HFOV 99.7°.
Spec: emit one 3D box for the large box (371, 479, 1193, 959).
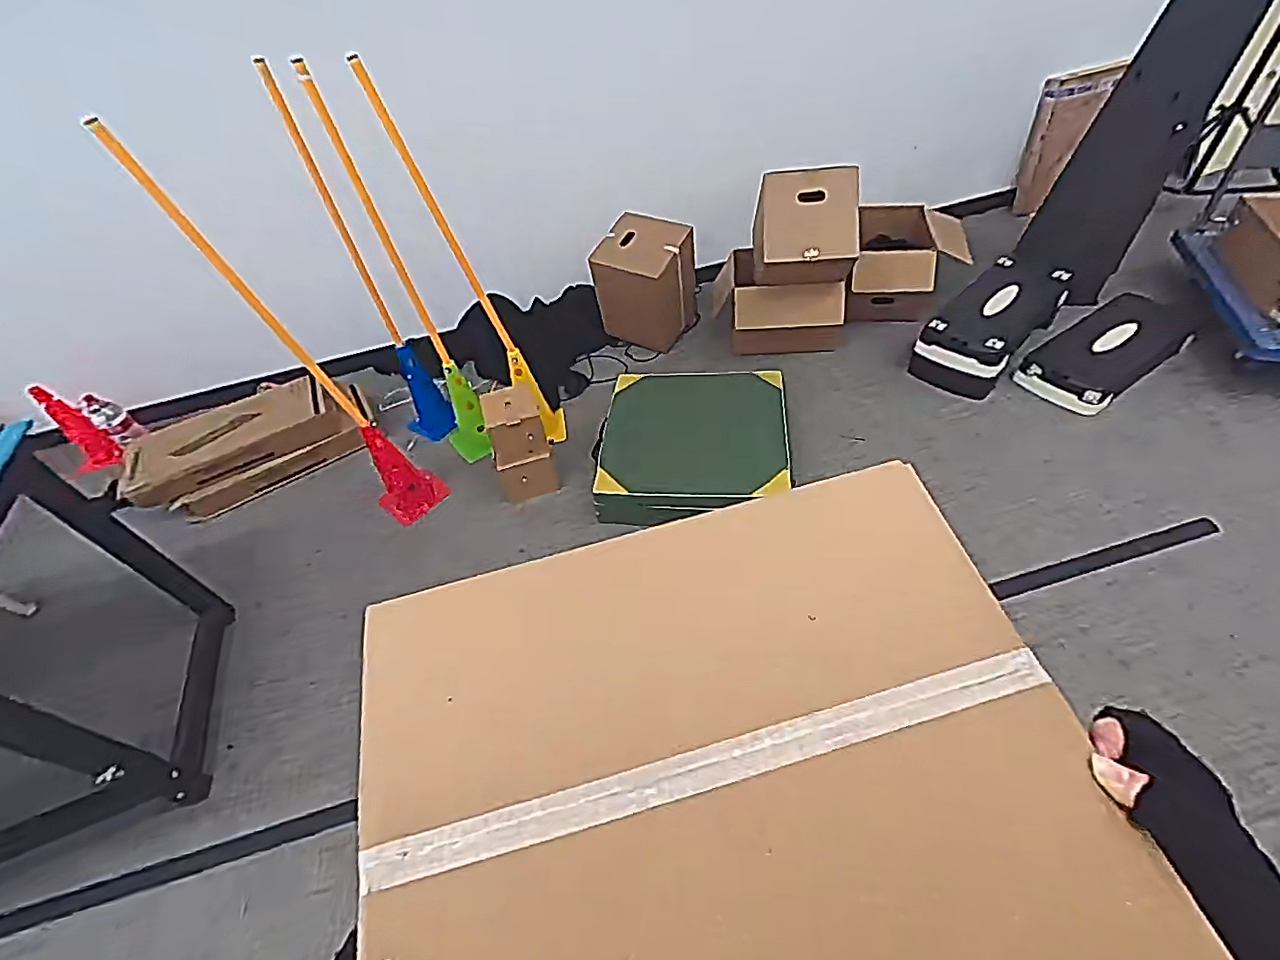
[{"bbox_3d":[0.055,0.252,0.444,0.408,0.320,0.320,-16,57,-3],"label":"large box"}]
